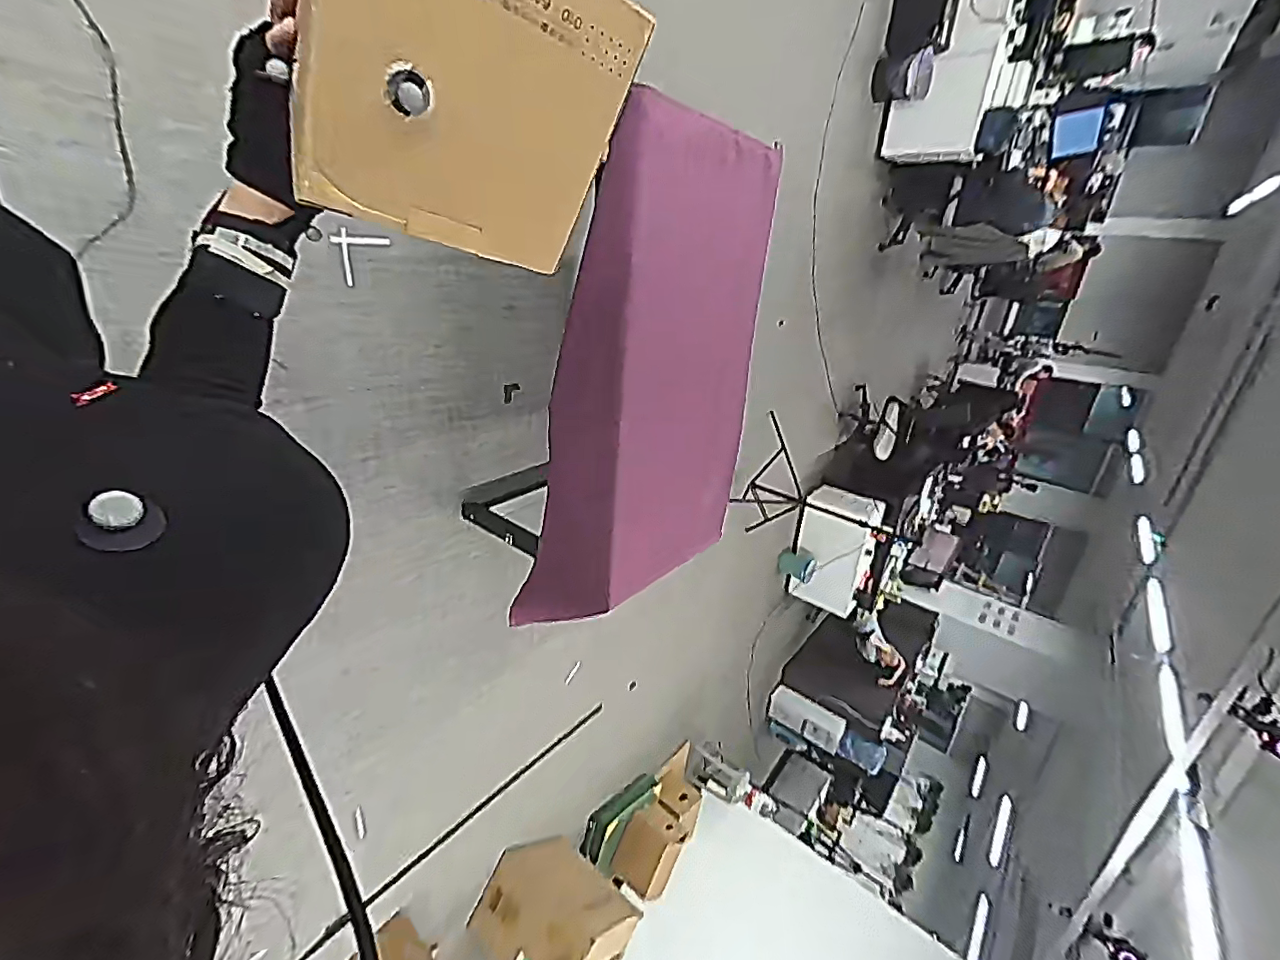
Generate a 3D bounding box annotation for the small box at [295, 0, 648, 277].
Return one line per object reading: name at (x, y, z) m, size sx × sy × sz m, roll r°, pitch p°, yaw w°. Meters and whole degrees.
small box at (-0.117, -0.270, 0.351) m, size 0.168 × 0.179 × 0.176 m, roll 4°, pitch 135°, yaw -38°
